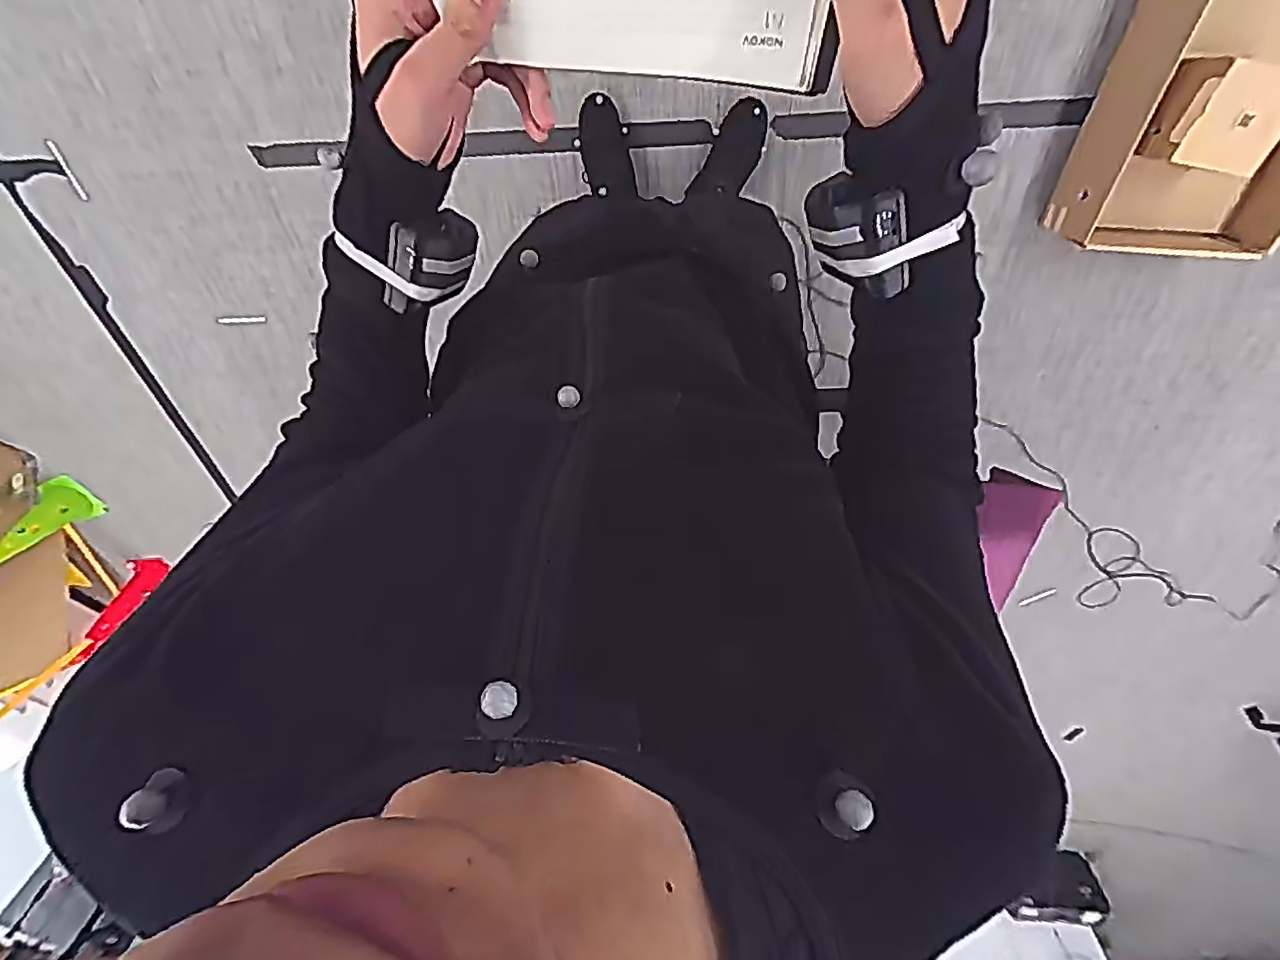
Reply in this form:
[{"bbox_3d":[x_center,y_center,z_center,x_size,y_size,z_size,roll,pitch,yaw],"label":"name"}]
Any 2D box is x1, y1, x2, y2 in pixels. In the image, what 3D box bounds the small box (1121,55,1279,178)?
[{"bbox_3d":[1.130,-0.719,1.071,0.179,0.176,0.168,11,128,-3],"label":"small box"}]
